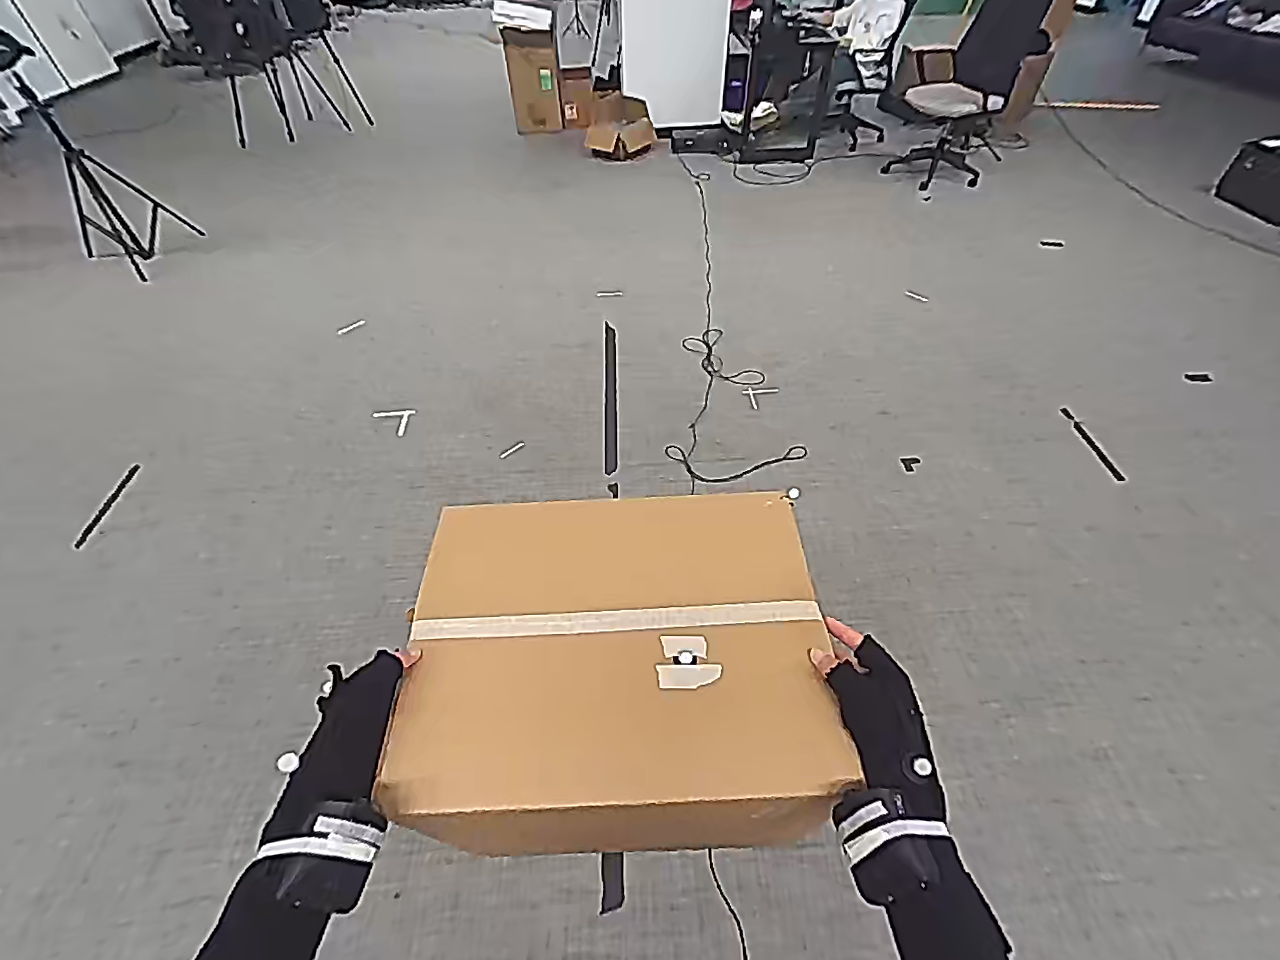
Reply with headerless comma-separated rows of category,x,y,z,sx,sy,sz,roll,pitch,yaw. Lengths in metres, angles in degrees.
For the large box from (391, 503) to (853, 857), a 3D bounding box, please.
large box,-0.018,0.250,0.664,0.408,0.320,0.320,-2,50,0
